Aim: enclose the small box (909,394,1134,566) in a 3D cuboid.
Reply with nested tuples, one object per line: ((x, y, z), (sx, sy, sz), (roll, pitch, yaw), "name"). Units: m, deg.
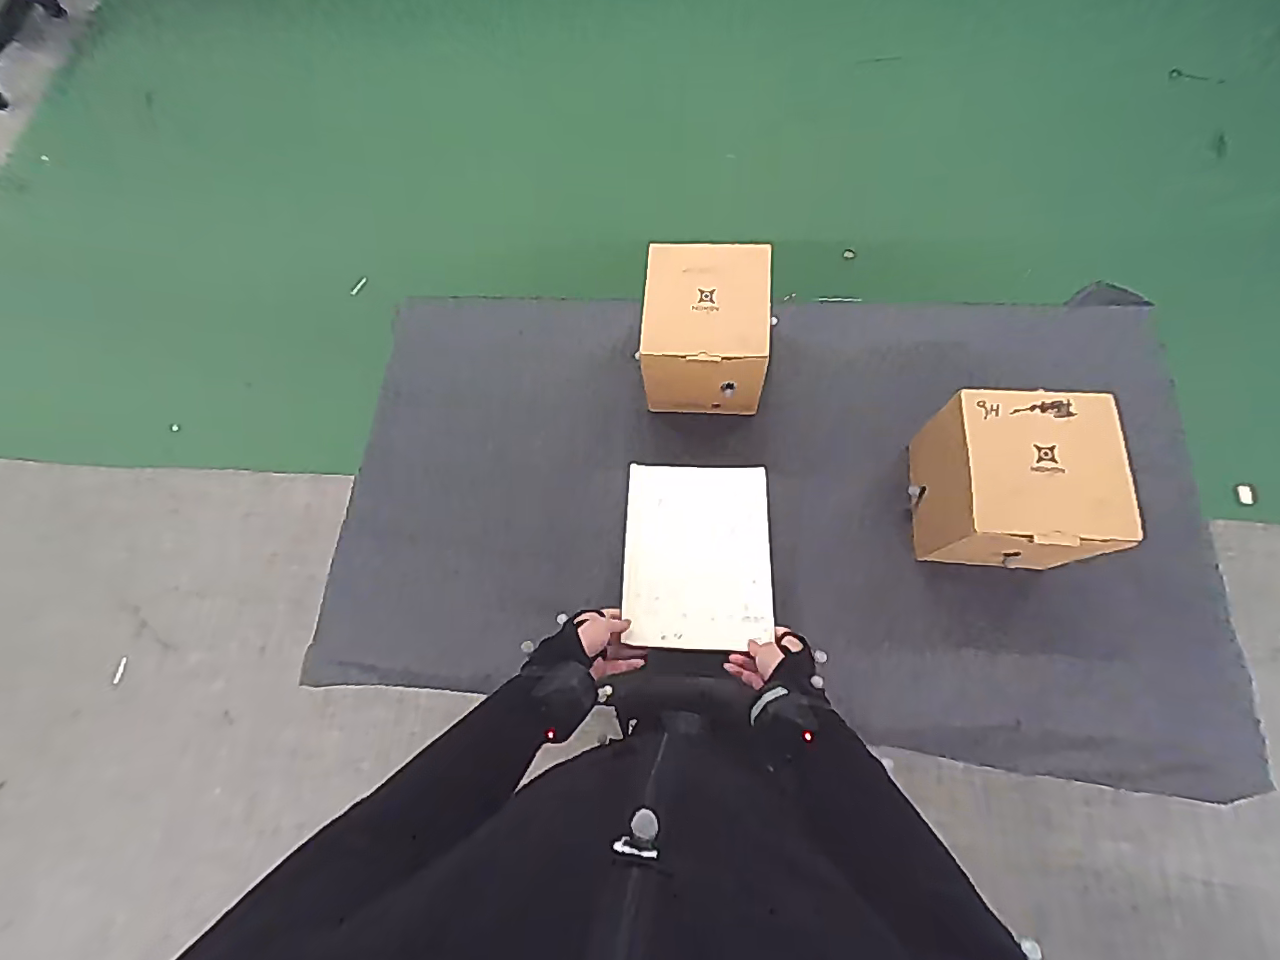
((0.454, 0.009, 0.676), (0.168, 0.176, 0.179), (3, 74, 6), "small box")

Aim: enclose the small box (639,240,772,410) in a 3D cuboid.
((0.093, -0.211, 0.767), (0.168, 0.176, 0.179), (2, 72, 5), "small box")
